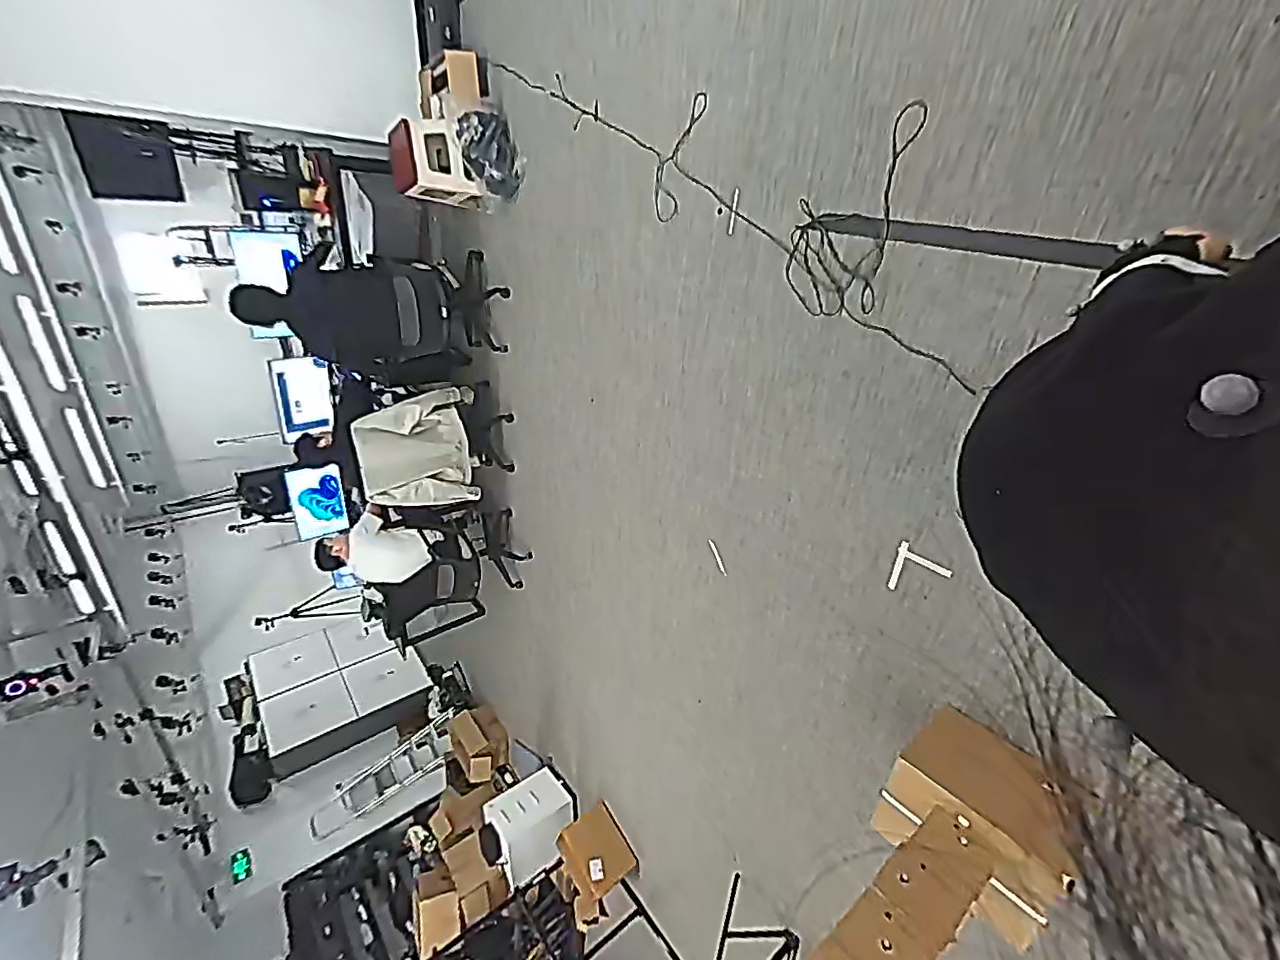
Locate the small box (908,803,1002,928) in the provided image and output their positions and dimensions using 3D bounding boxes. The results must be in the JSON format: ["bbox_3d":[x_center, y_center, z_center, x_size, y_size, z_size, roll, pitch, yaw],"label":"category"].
[{"bbox_3d":[0.763,0.962,1.345,0.168,0.176,0.179,30,125,43],"label":"small box"}]

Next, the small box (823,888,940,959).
[{"bbox_3d":[0.510,1.034,1.152,0.168,0.176,0.179,24,121,47],"label":"small box"}]

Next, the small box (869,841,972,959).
[{"bbox_3d":[0.635,0.992,1.250,0.168,0.176,0.179,29,126,45],"label":"small box"}]
